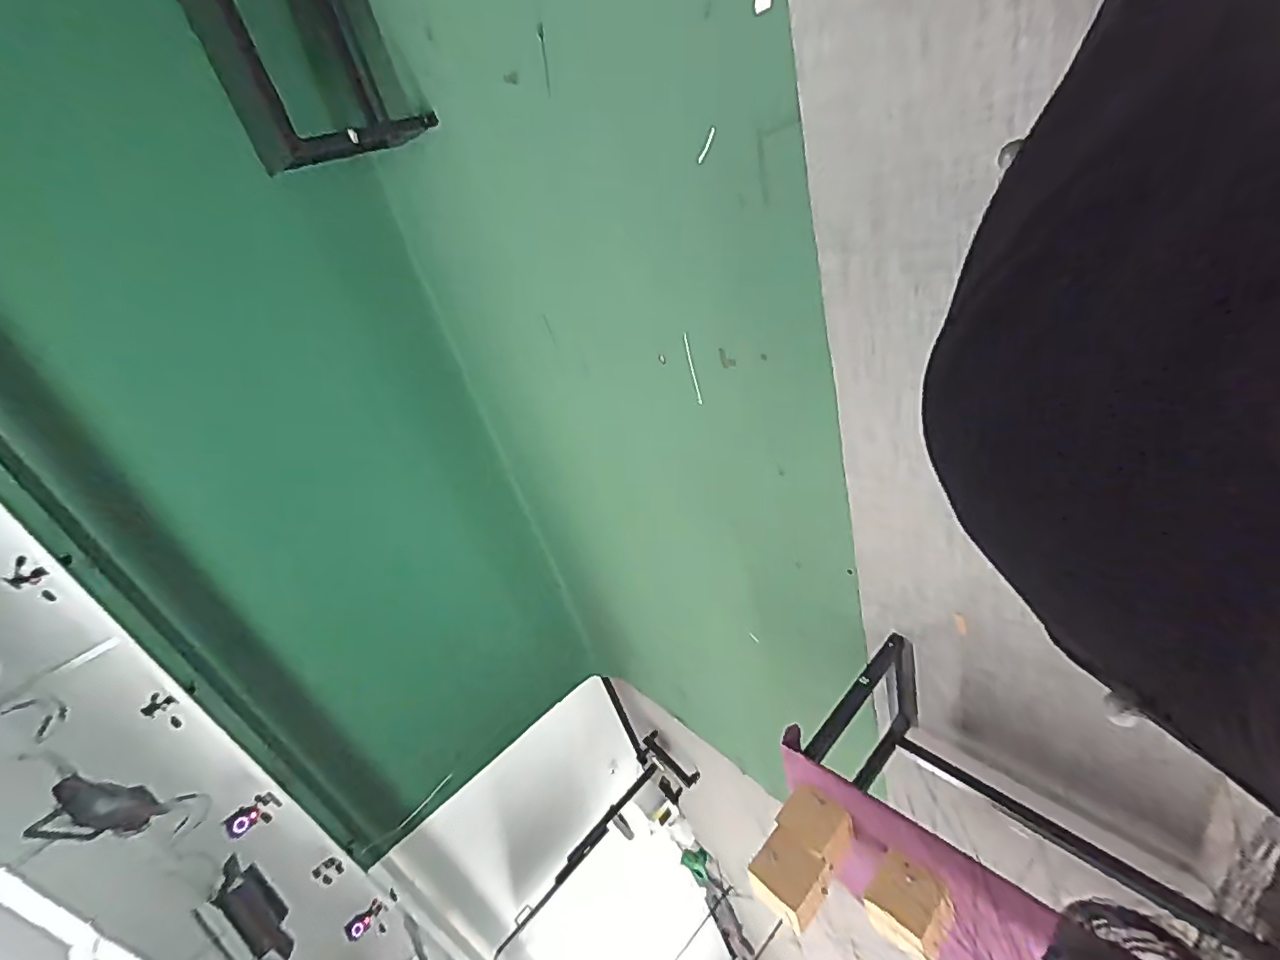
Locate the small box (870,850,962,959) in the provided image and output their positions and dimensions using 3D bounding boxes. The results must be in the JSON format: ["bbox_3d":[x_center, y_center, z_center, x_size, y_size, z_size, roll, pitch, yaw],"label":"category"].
[{"bbox_3d":[0.777,1.201,1.515,0.168,0.176,0.179,9,128,52],"label":"small box"}]

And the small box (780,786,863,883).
[{"bbox_3d":[0.581,1.120,1.724,0.179,0.176,0.168,13,130,51],"label":"small box"}]

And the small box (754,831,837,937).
[{"bbox_3d":[0.473,1.210,1.640,0.179,0.176,0.168,19,135,46],"label":"small box"}]
